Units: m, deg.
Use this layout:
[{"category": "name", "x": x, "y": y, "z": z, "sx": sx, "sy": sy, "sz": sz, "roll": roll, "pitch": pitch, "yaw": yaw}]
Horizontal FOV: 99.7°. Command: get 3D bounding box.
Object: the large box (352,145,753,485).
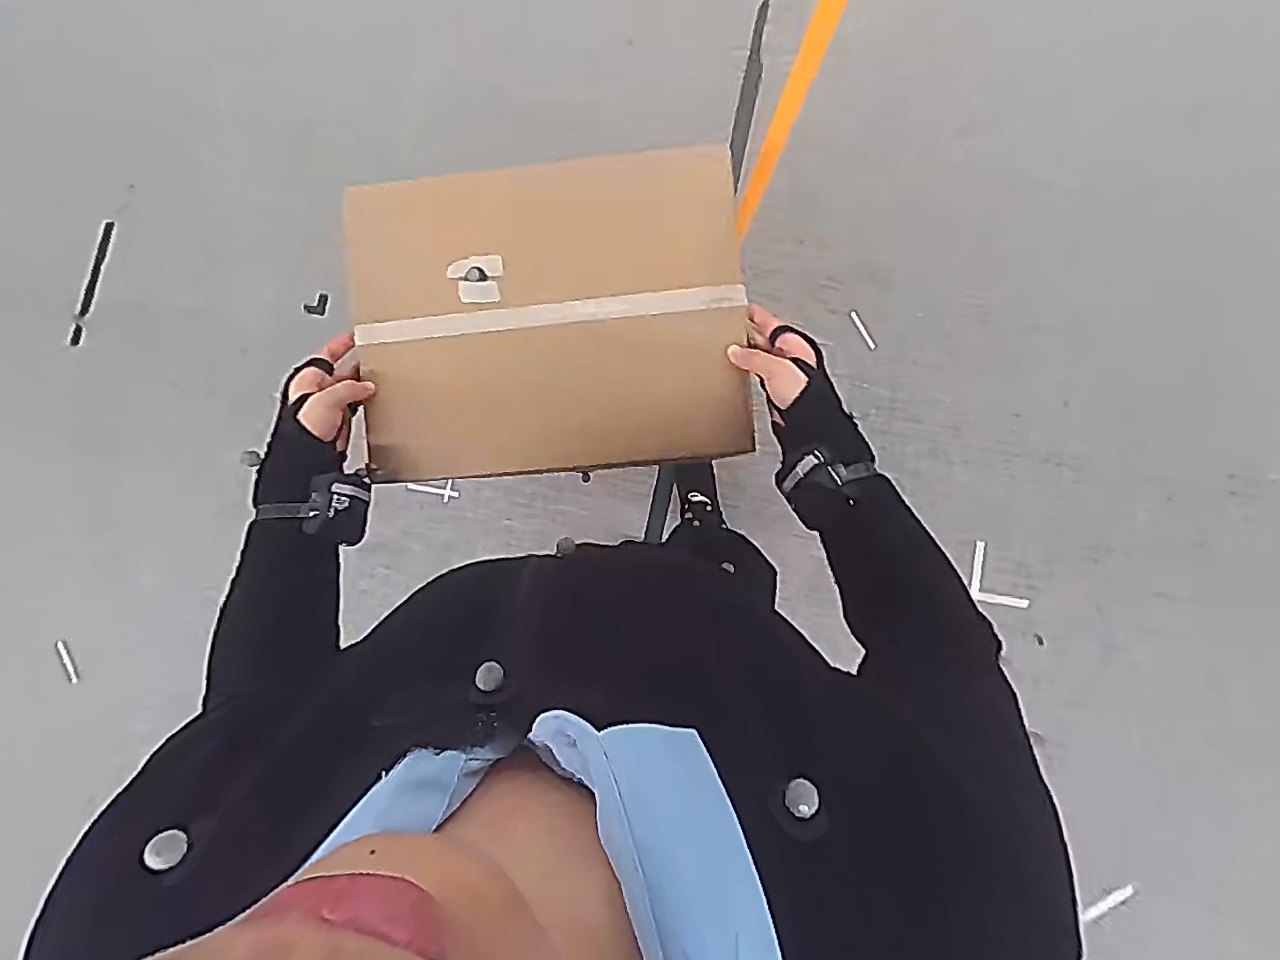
[{"category": "large box", "x": -0.087, "y": -0.173, "z": 0.717, "sx": 0.408, "sy": 0.320, "sz": 0.320, "roll": -6, "pitch": 89, "yaw": 4}]
